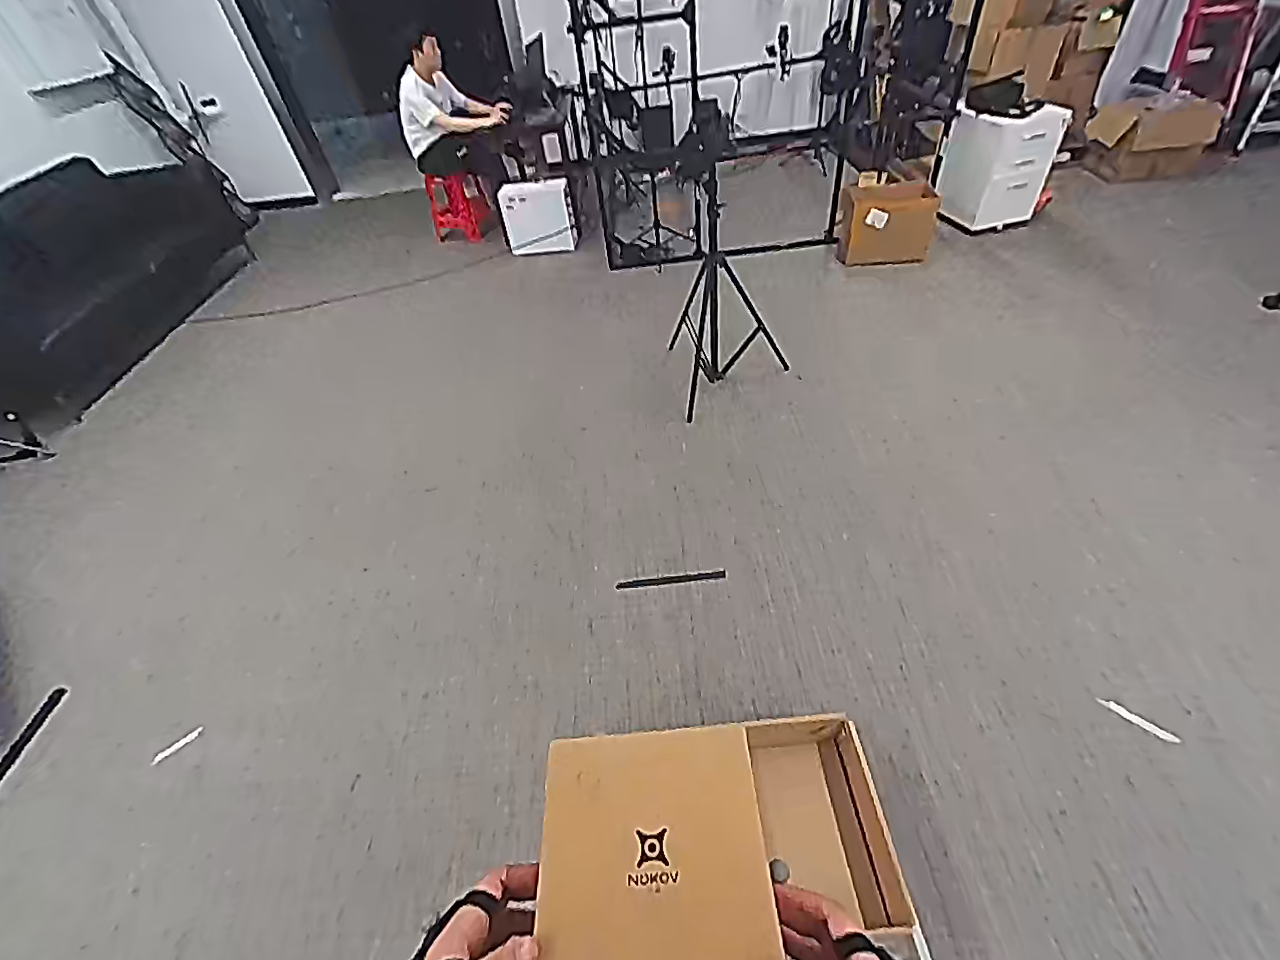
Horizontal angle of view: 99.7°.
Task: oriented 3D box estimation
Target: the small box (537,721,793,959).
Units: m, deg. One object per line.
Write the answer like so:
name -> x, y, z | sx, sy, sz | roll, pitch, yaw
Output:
small box -> 0.020, 0.323, 0.440 | 0.168, 0.176, 0.179 | -6, 43, 2
